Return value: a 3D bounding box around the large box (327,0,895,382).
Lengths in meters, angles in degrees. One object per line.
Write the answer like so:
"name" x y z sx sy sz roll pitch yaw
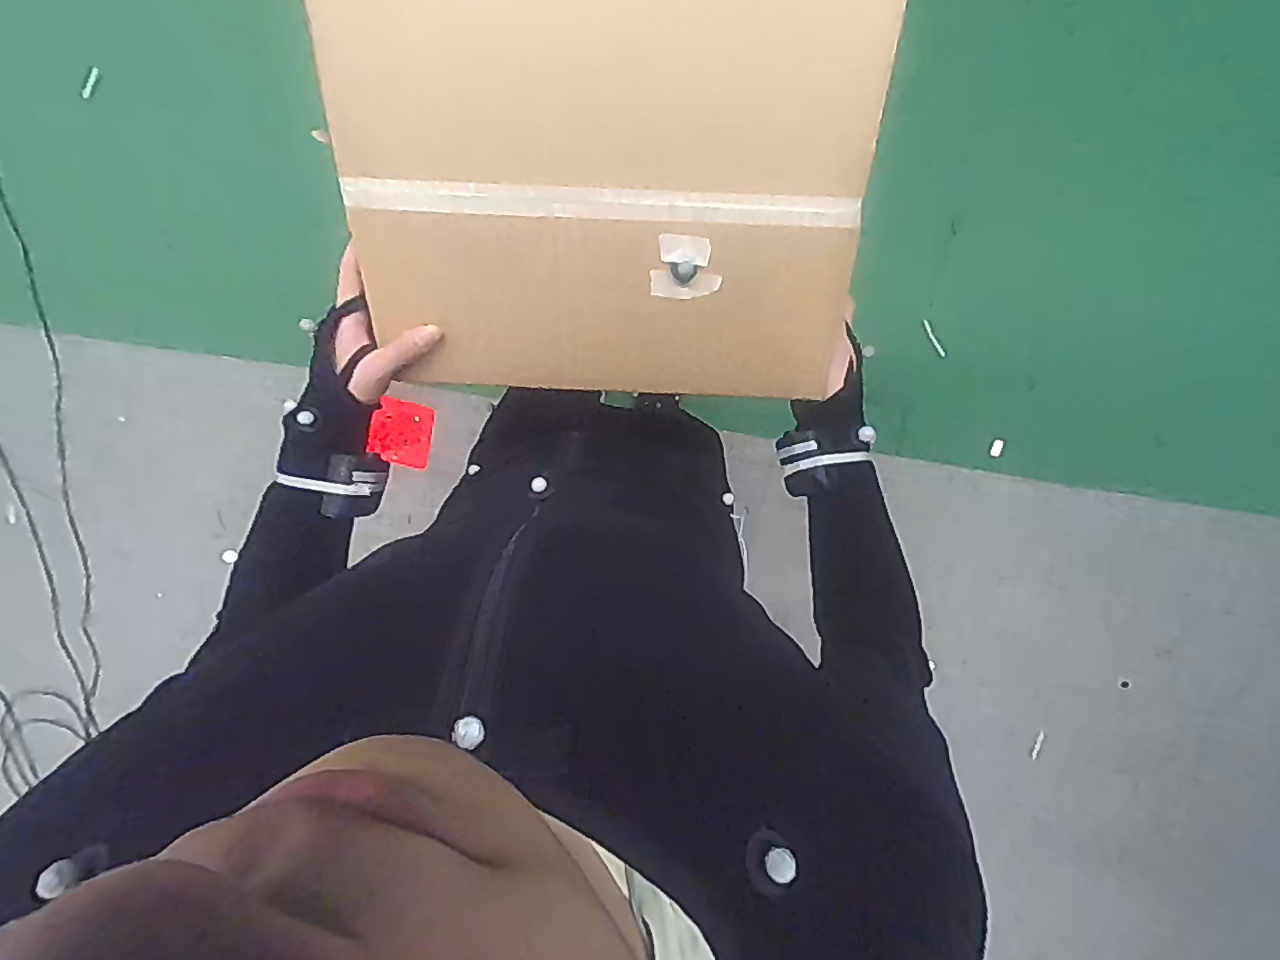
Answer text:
"large box" -0.025 -0.301 0.563 0.408 0.320 0.320 2 120 -1

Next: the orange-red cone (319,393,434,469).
"orange-red cone" -0.743 -0.111 1.465 0.199 0.360 0.198 17 103 0
